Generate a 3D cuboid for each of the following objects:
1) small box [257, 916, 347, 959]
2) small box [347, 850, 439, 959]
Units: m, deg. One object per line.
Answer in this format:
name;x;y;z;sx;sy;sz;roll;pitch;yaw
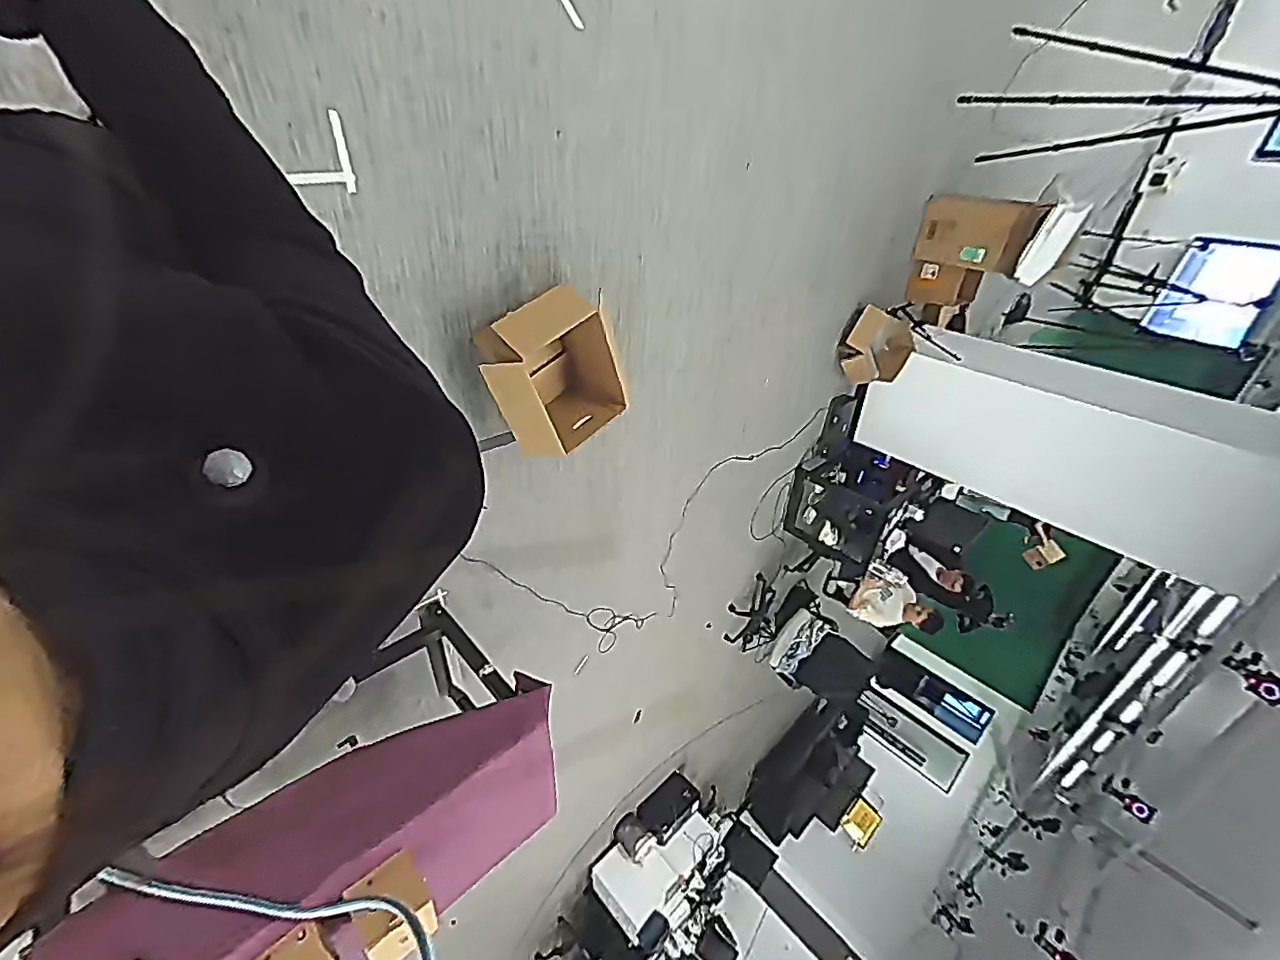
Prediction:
small box;-0.816;1.211;1.304;0.168;0.176;0.179;-29;136;-34
small box;-0.658;1.138;1.441;0.168;0.176;0.179;-22;131;-39
